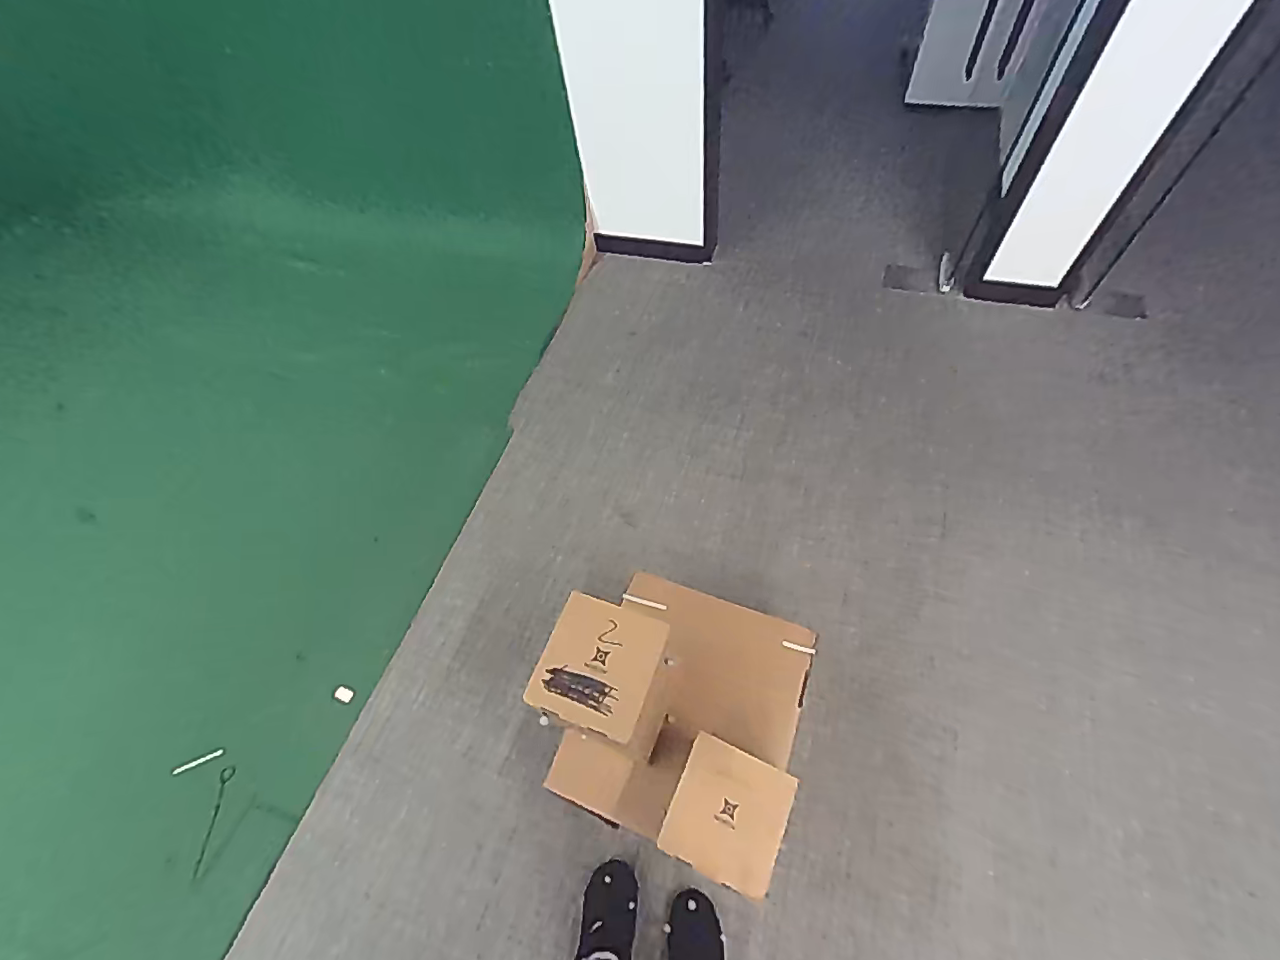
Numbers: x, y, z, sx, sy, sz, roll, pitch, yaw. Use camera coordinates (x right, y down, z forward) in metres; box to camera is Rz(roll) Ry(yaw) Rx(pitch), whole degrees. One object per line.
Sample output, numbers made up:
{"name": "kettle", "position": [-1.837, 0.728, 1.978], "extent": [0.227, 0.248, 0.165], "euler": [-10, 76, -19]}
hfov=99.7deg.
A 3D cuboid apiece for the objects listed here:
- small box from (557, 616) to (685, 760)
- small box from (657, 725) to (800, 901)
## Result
{"name": "small box", "position": [-0.025, 0.380, 0.983], "extent": [0.168, 0.176, 0.179], "euler": [19, 62, 18]}
{"name": "small box", "position": [0.141, 0.529, 0.873], "extent": [0.168, 0.176, 0.179], "euler": [21, 62, 16]}
